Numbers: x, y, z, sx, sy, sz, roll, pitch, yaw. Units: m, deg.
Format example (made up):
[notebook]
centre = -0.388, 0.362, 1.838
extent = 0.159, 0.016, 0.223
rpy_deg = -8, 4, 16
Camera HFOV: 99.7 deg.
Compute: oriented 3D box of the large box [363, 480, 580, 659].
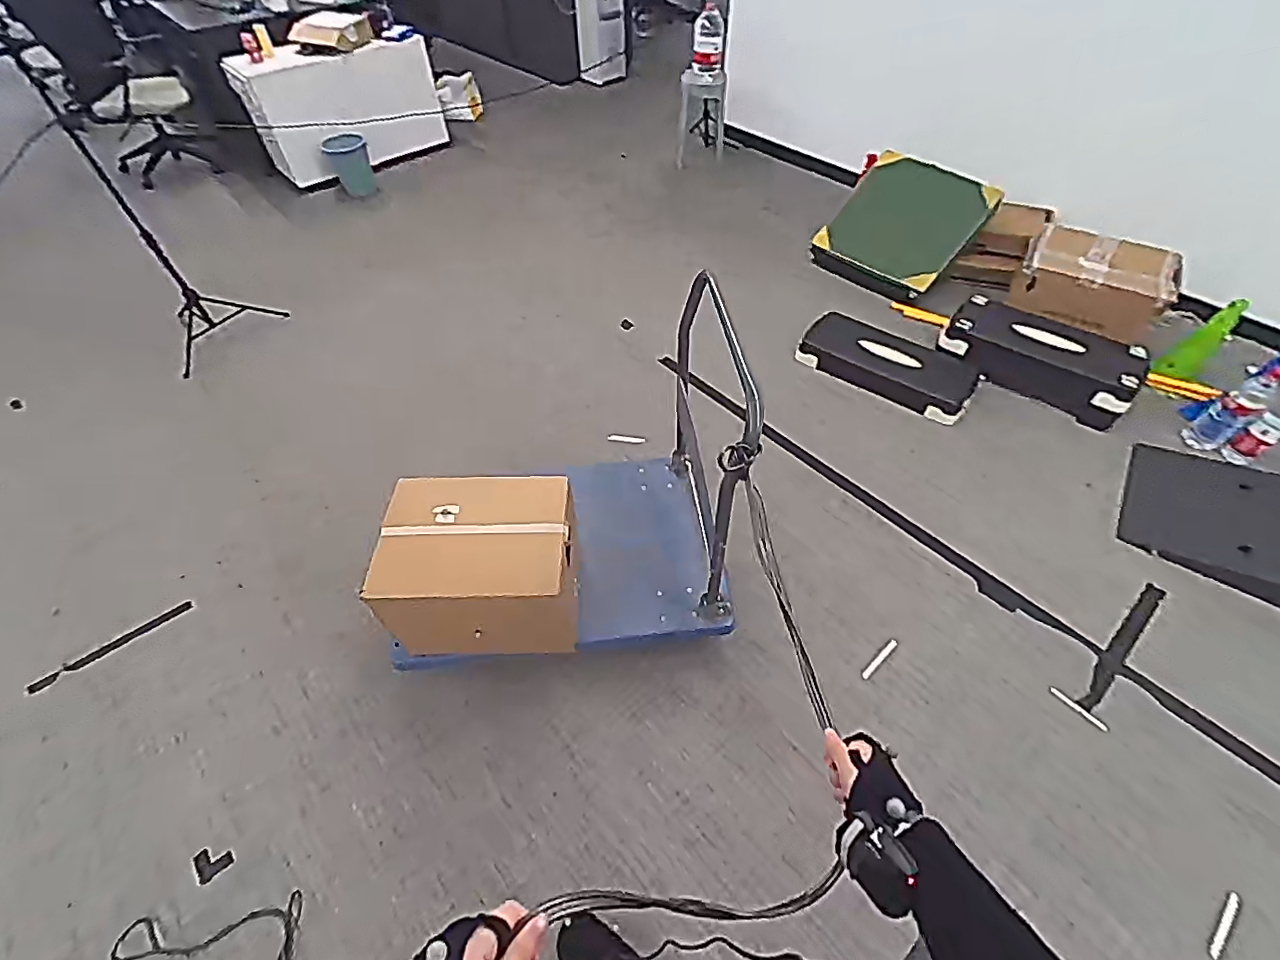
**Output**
[large box]
centre = -0.358, 0.220, 1.290
extent = 0.408, 0.320, 0.320
rpy_deg = -2, 50, 0
